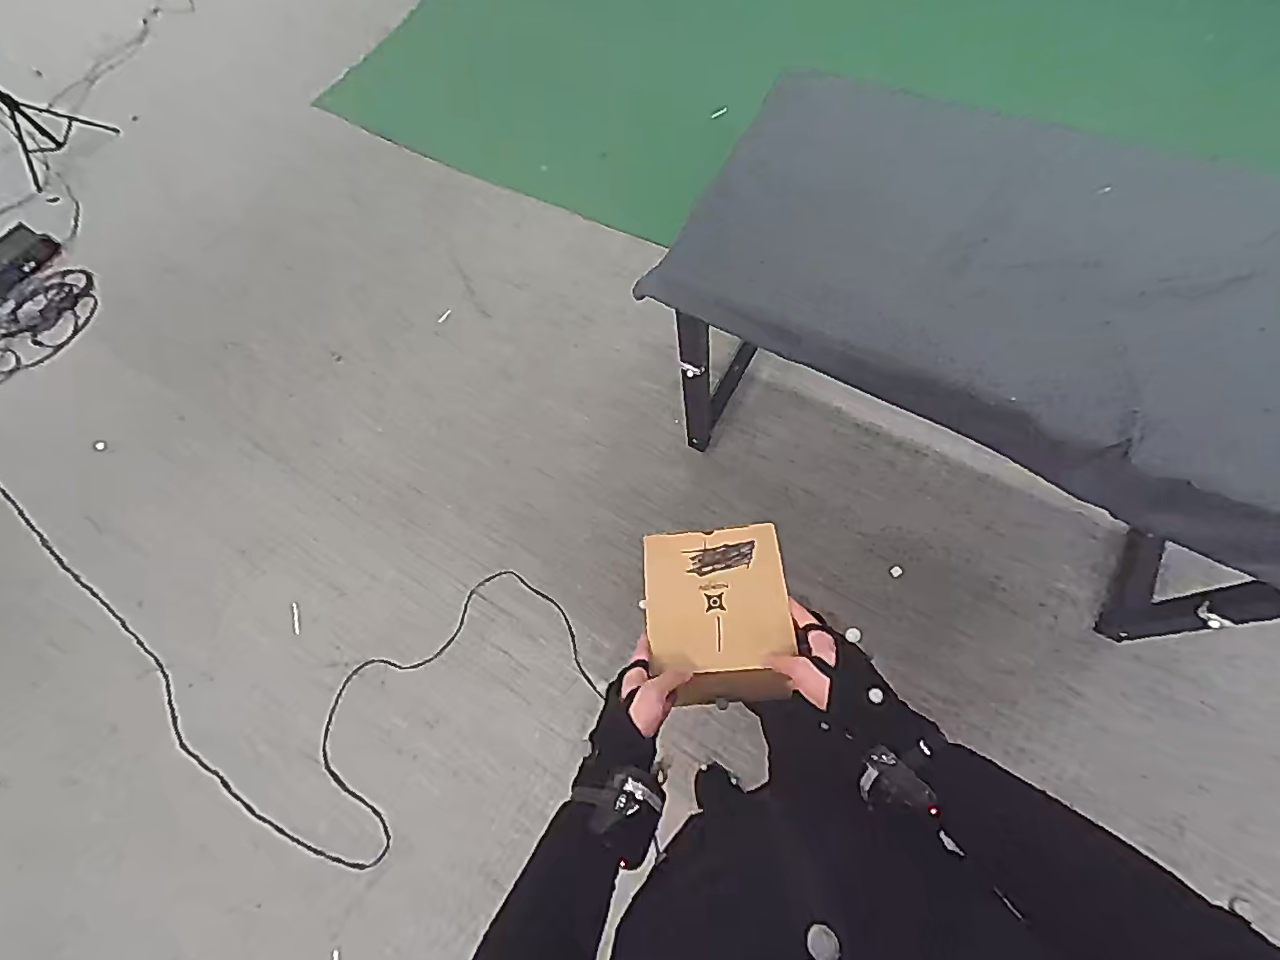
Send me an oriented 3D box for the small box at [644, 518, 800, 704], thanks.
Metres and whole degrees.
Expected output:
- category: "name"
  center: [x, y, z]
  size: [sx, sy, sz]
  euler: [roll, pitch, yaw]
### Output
- category: "small box"
  center: [0.096, 0.169, 0.681]
  size: [0.168, 0.176, 0.179]
  euler: [-6, 56, 7]
